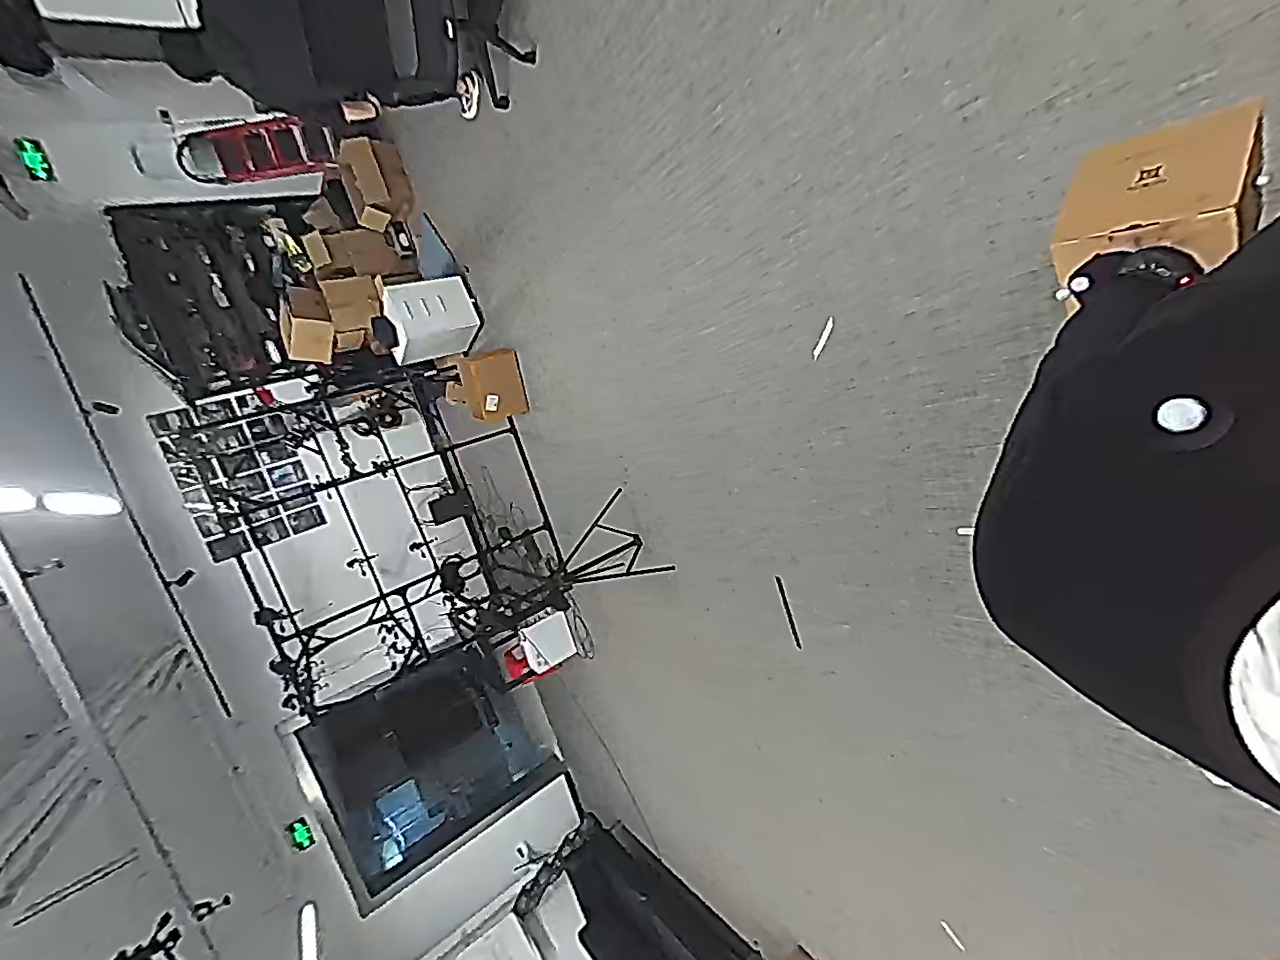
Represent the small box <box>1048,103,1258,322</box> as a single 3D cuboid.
[{"bbox_3d":[0.668,-0.324,0.702,0.176,0.179,0.168,39,162,-35],"label":"small box"}]
